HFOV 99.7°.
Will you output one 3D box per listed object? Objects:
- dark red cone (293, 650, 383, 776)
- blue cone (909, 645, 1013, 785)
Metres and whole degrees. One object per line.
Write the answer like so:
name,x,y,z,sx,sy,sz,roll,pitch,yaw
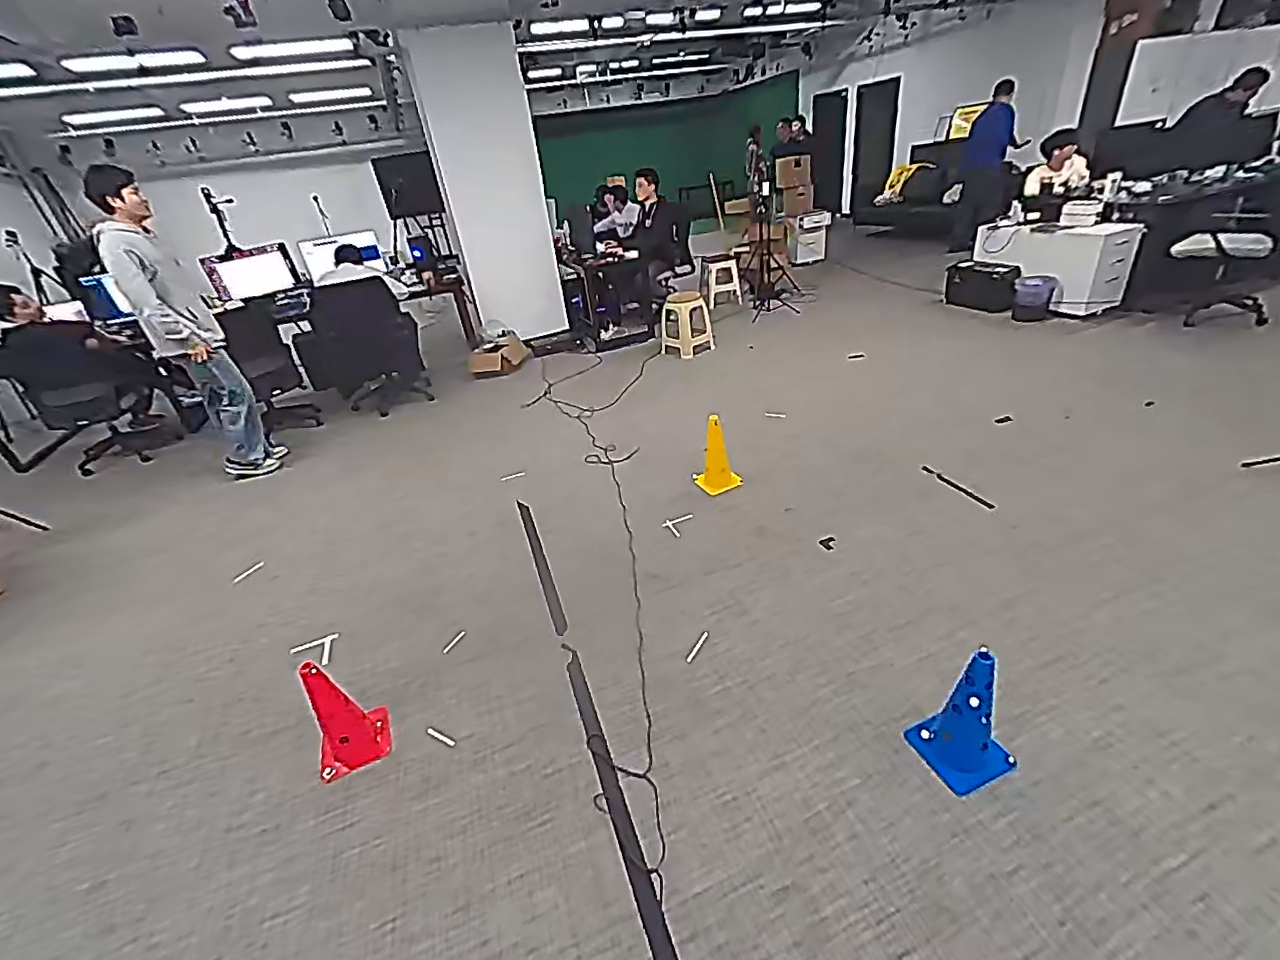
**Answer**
dark red cone,-0.919,0.653,1.585,0.201,0.394,0.202,-20,32,-21
blue cone,0.823,0.559,1.347,0.192,0.380,0.193,-16,31,-14
